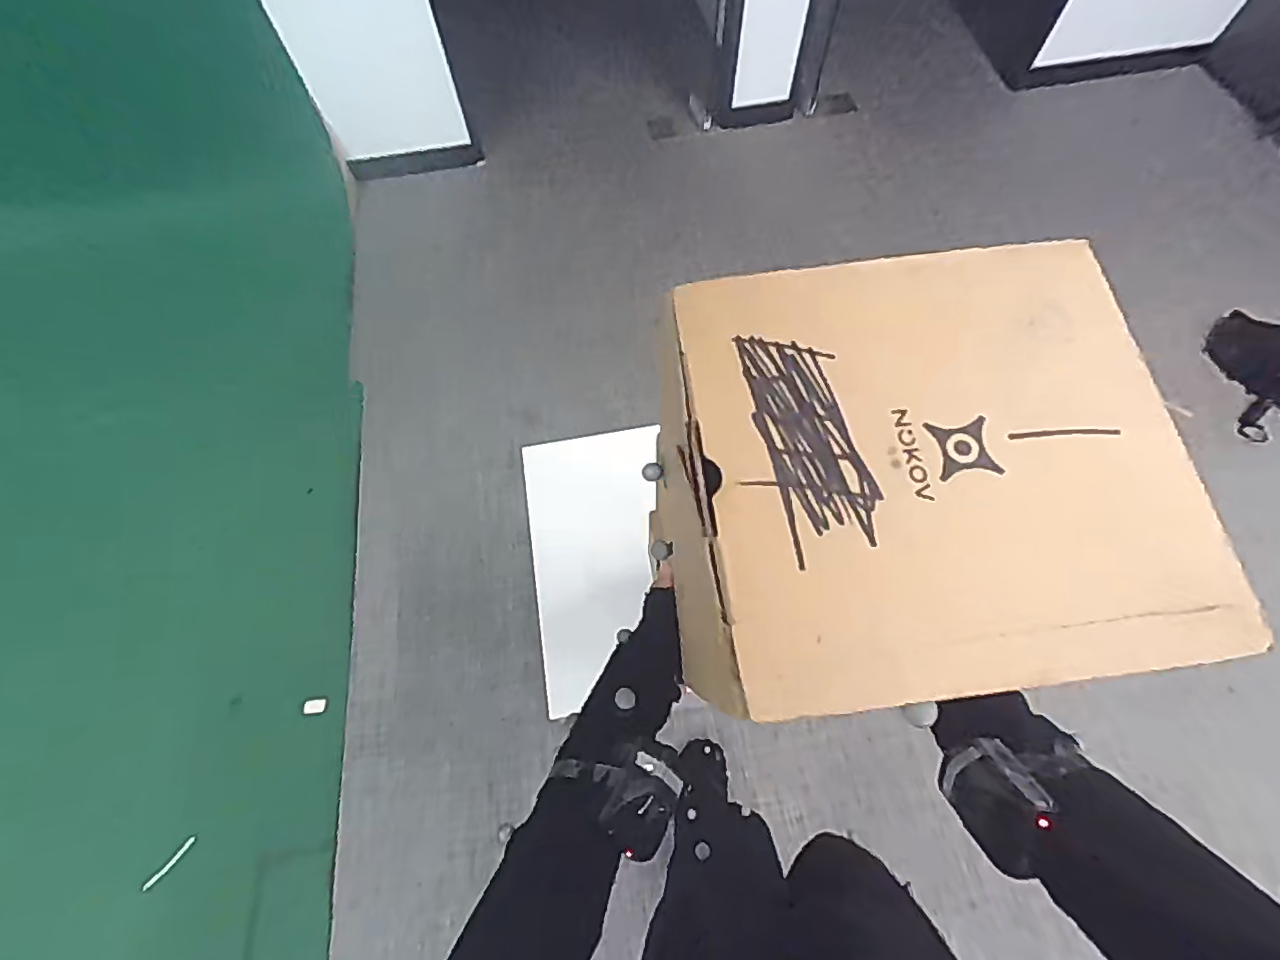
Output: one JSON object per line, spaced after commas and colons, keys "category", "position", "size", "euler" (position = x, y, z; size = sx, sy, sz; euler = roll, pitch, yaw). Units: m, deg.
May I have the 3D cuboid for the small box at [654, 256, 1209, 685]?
{"category": "small box", "position": [0.103, 0.013, 0.286], "size": [0.179, 0.176, 0.168], "euler": [-7, 71, -2]}

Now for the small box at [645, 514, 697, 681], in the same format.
{"category": "small box", "position": [0.105, 0.124, 0.595], "size": [0.179, 0.176, 0.168], "euler": [-9, 71, -3]}
